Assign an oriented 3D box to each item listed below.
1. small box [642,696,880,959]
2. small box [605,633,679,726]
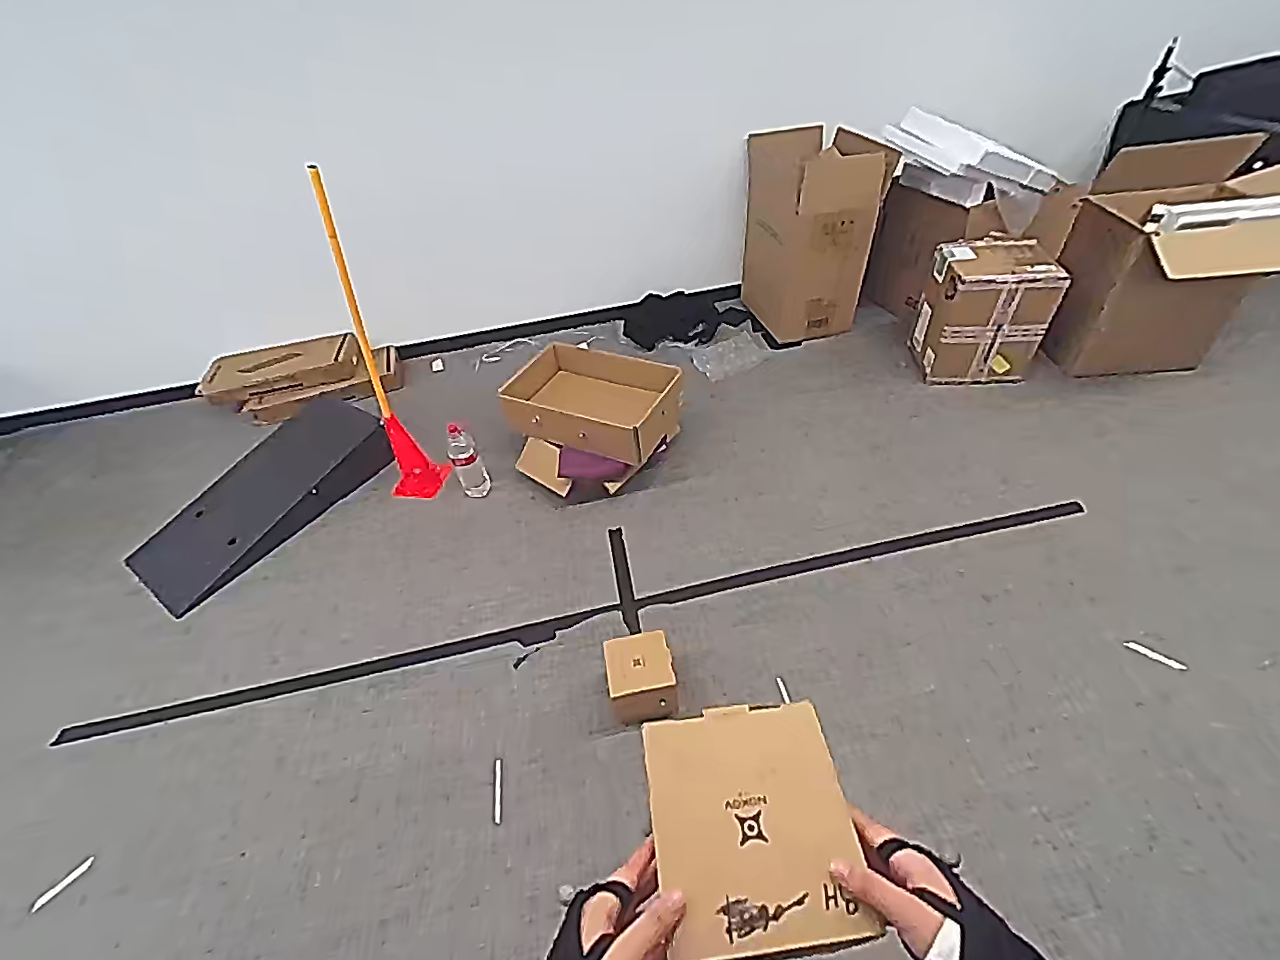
[{"bbox_3d":[0.095,0.334,0.514,0.168,0.176,0.179,-8,46,-1],"label":"small box"},{"bbox_3d":[0.008,0.554,1.495,0.179,0.176,0.168,-12,43,-3],"label":"small box"}]
